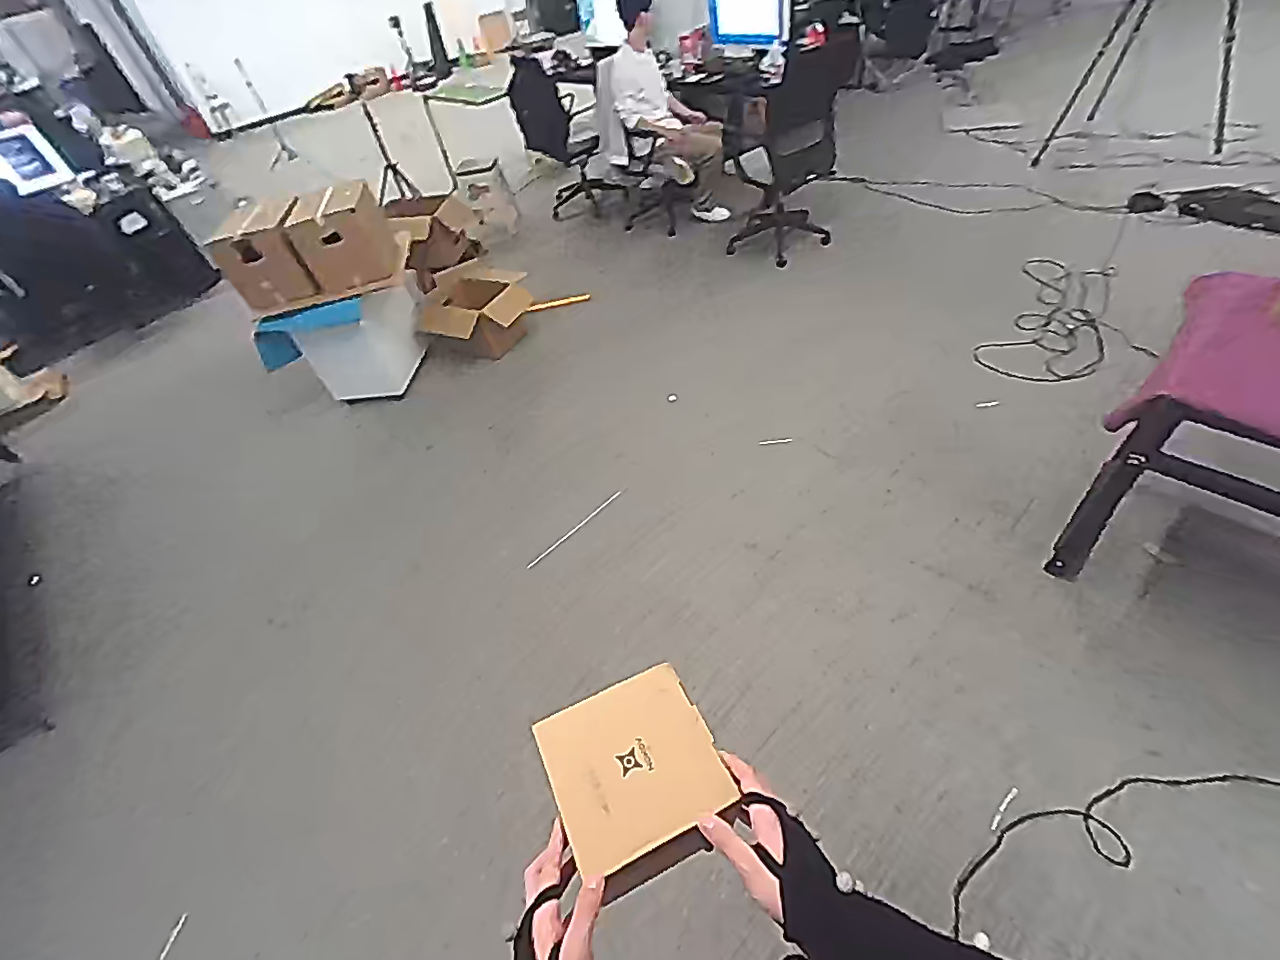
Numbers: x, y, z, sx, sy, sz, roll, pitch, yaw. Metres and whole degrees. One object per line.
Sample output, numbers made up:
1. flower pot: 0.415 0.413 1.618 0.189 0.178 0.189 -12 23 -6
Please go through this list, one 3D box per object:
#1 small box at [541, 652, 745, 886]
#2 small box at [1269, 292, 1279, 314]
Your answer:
1. small box: 0.001 0.339 0.637 0.179 0.176 0.168 -20 49 -14
2. small box: 1.596 -0.455 1.217 0.179 0.176 0.168 -38 52 -21
